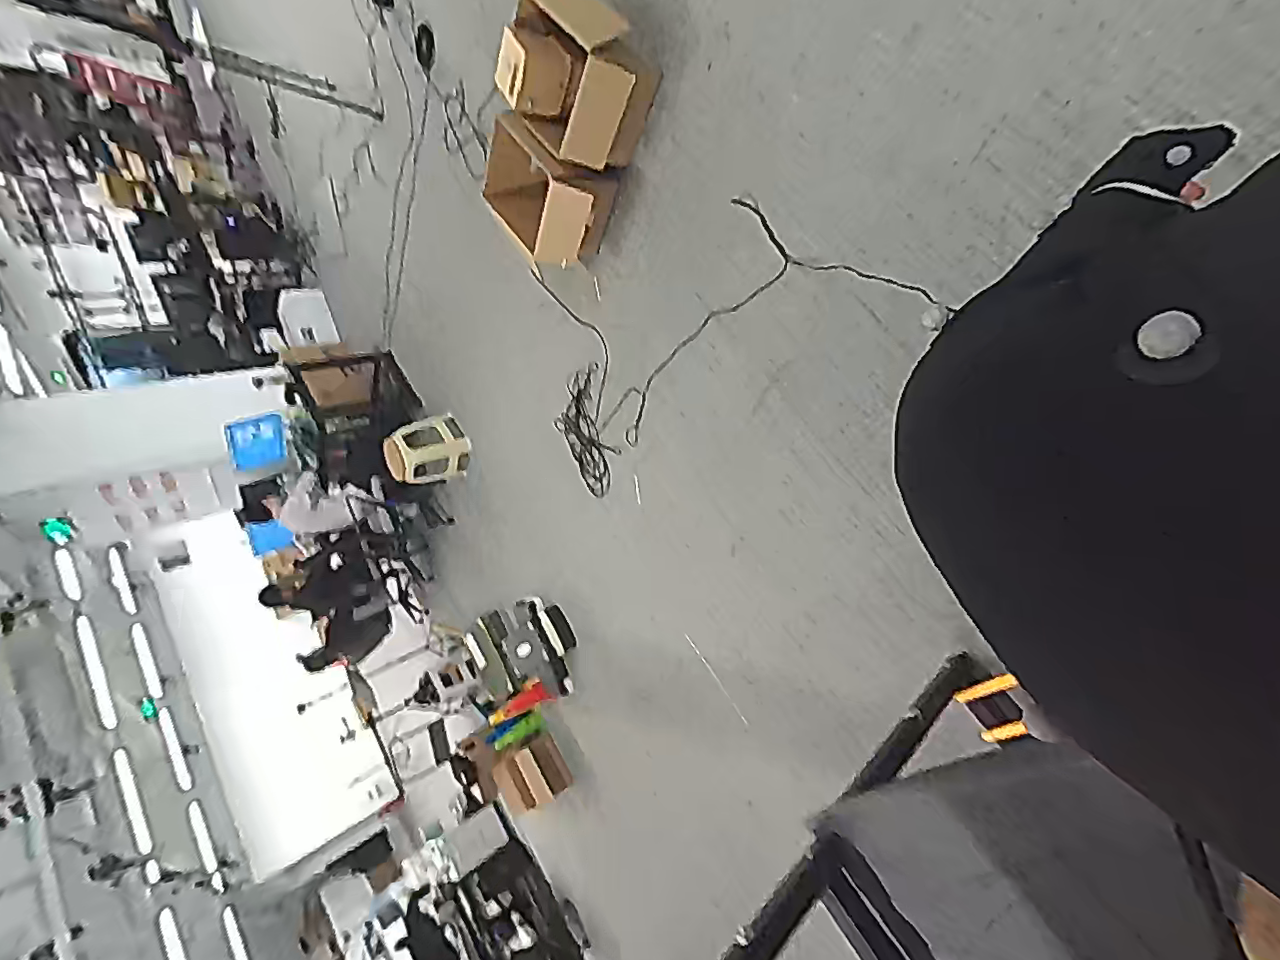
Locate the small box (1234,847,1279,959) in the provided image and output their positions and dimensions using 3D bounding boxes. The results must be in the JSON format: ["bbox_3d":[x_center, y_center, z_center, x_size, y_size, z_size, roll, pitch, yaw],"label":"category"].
[{"bbox_3d":[0.724,0.480,0.500,0.179,0.176,0.168,54,139,18],"label":"small box"}]
